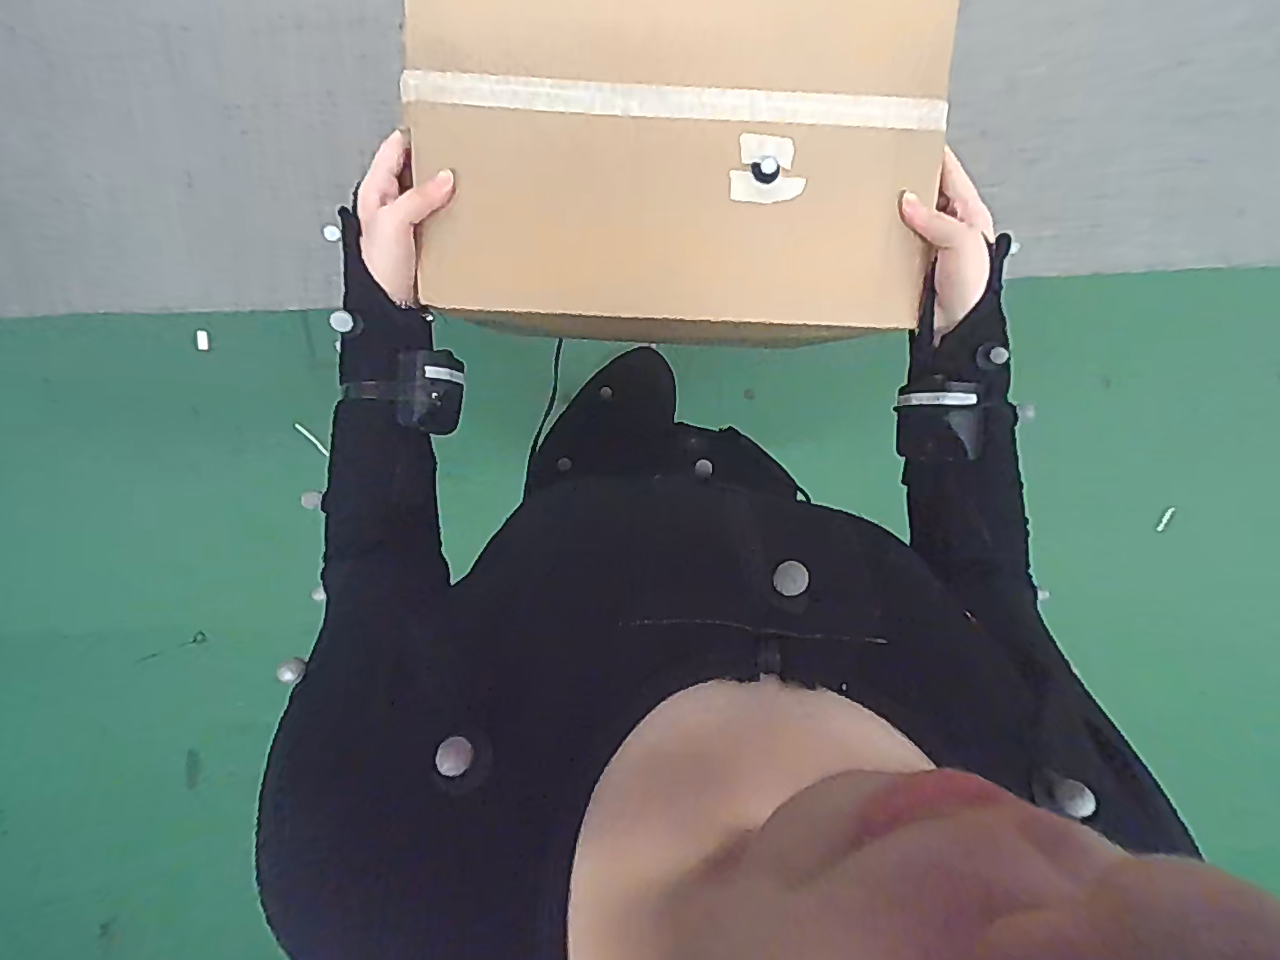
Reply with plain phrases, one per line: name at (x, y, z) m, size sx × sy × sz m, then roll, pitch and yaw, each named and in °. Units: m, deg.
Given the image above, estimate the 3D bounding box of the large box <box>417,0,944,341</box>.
large box at (0.023, -0.316, 0.563) m, size 0.408 × 0.320 × 0.320 m, roll 1°, pitch 101°, yaw -3°
